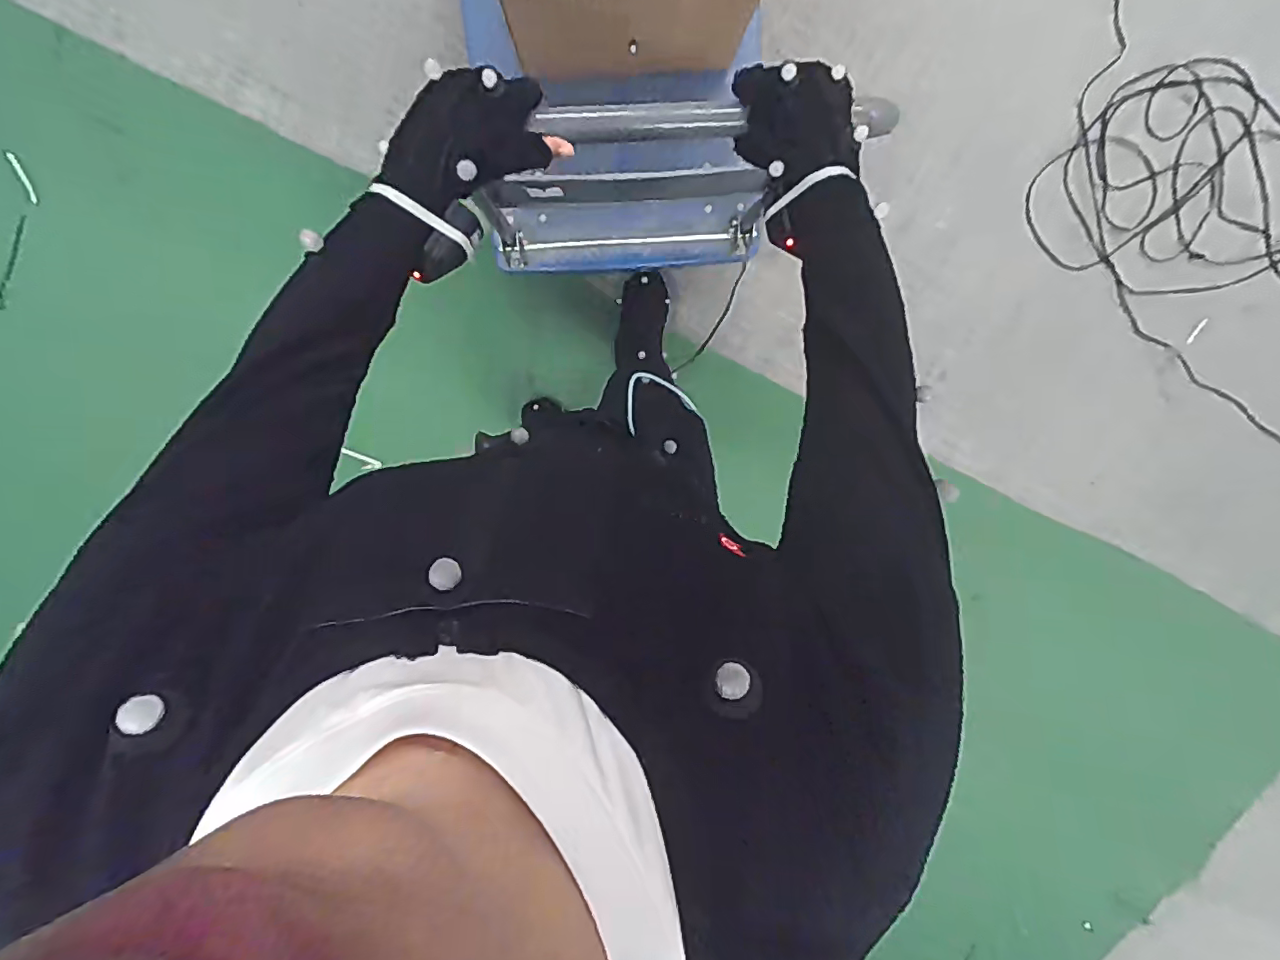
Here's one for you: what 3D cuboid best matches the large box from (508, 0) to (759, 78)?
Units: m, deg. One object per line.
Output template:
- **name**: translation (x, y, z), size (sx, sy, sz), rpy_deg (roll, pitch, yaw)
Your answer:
- **large box**: translation (-0.020, -0.917, 0.893), size (0.408, 0.320, 0.320), rpy_deg (-6, 106, -1)
